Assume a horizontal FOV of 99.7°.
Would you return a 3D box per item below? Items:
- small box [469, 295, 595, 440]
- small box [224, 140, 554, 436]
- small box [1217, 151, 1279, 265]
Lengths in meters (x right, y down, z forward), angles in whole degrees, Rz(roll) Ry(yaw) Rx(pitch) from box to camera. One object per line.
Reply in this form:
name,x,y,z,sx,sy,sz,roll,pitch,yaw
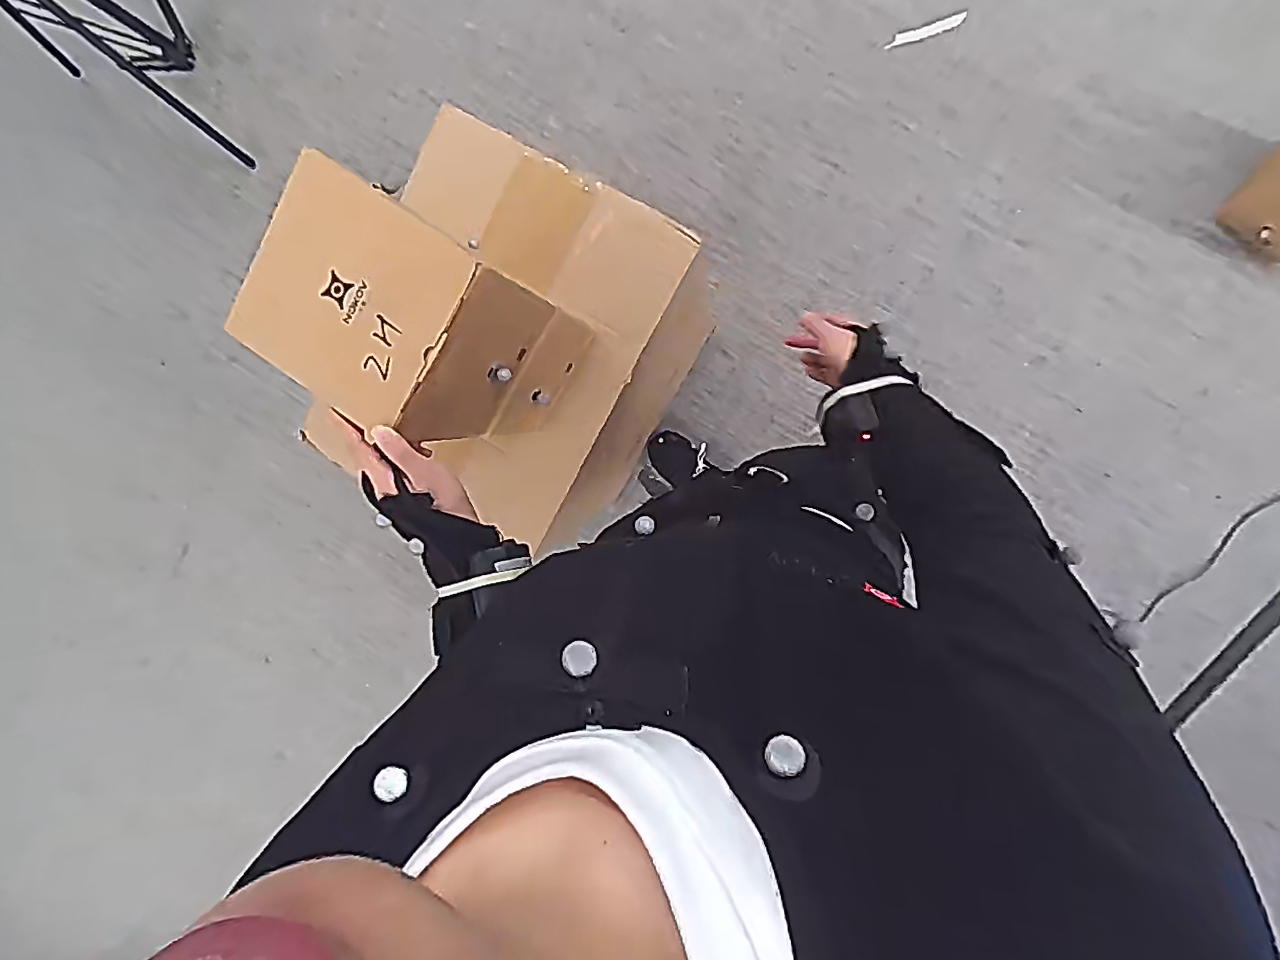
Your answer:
small box,-0.177,-0.165,0.656,0.179,0.176,0.168,32,100,5
small box,-0.210,-0.154,0.494,0.179,0.176,0.168,35,101,4
small box,1.276,-0.541,1.013,0.168,0.176,0.179,39,102,4
